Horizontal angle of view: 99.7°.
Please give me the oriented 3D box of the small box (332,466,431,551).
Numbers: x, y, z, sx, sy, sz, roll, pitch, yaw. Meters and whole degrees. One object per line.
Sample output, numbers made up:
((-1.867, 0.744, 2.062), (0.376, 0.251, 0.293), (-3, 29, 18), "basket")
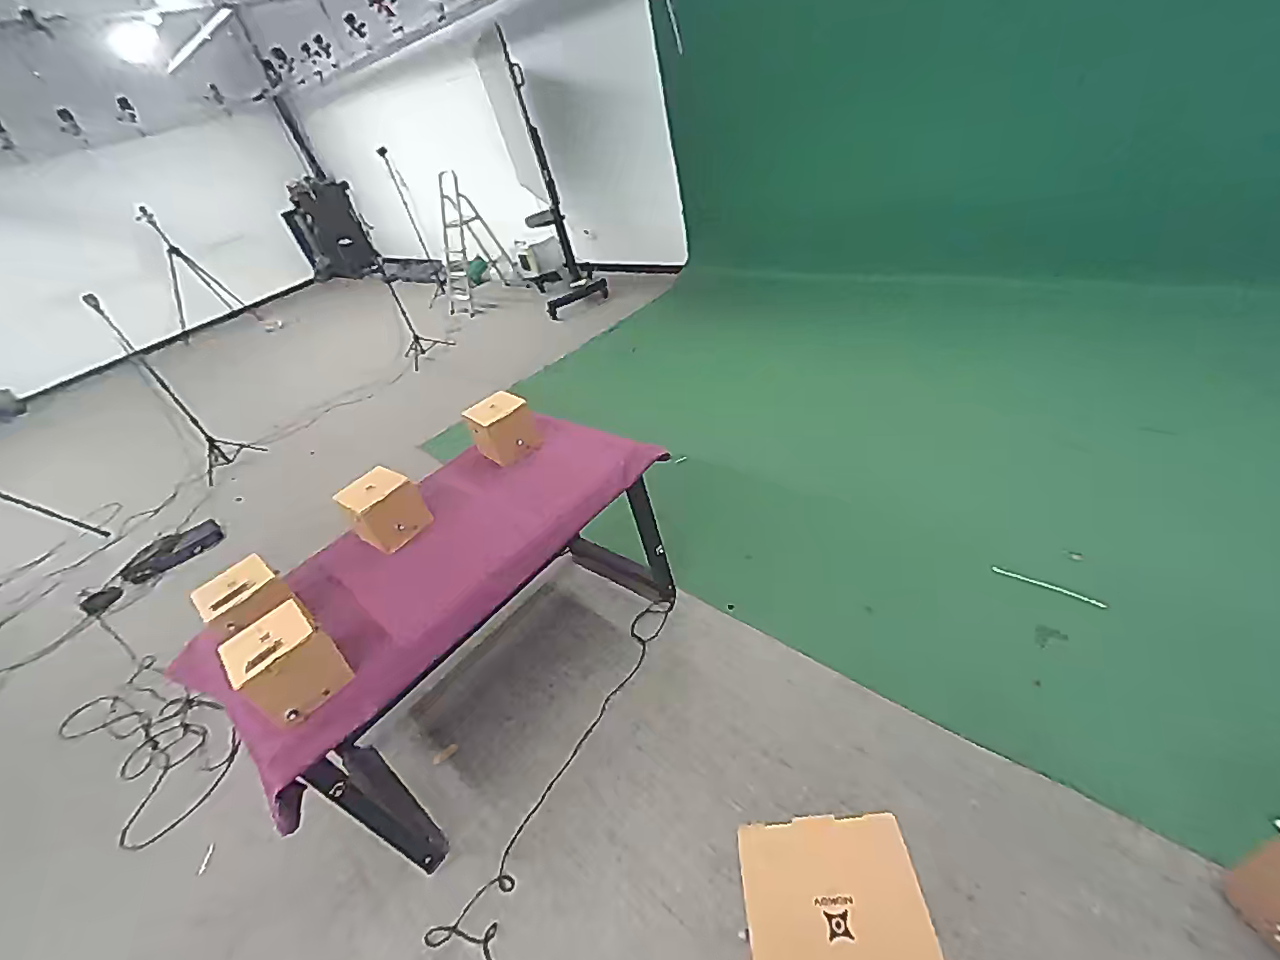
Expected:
((-0.758, 0.085, 1.597), (0.179, 0.176, 0.168), (17, 47, 34), "small box")

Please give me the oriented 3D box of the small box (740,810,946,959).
((0.199, 0.468, 0.544), (0.168, 0.176, 0.179), (-10, 35, 7), "small box")

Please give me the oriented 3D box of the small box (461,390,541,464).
((-0.466, -0.177, 1.822), (0.168, 0.176, 0.179), (-38, 43, -25), "small box")

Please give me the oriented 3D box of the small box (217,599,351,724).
((-0.774, 0.402, 1.187), (0.179, 0.176, 0.168), (21, 50, 41), "small box")
